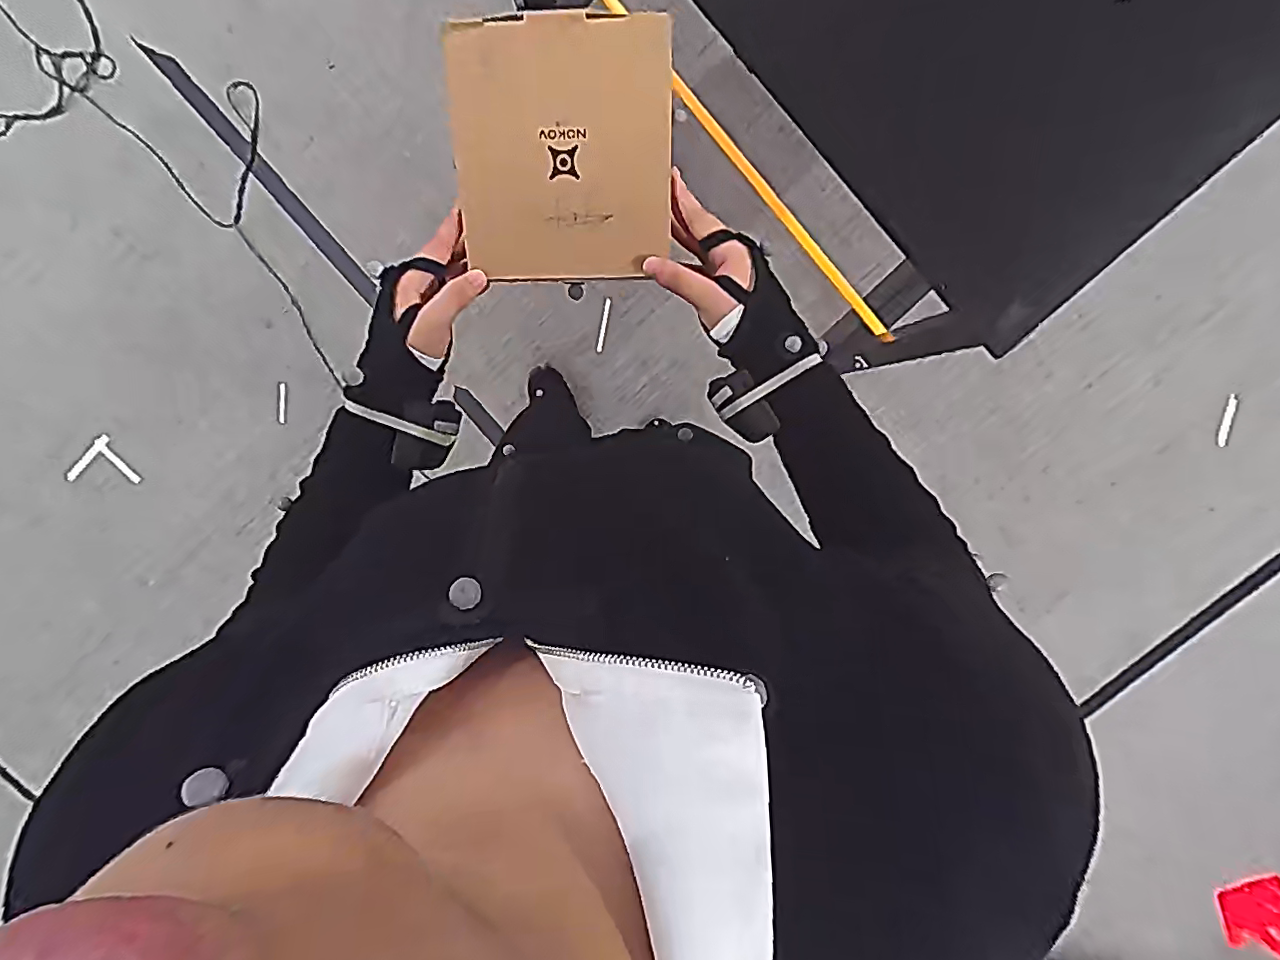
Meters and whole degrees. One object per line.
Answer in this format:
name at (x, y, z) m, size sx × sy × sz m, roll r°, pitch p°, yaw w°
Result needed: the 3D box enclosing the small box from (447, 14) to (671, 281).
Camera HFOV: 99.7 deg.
small box at (-0.059, -0.278, 0.493) m, size 0.168 × 0.176 × 0.179 m, roll 0°, pitch 109°, yaw 1°
